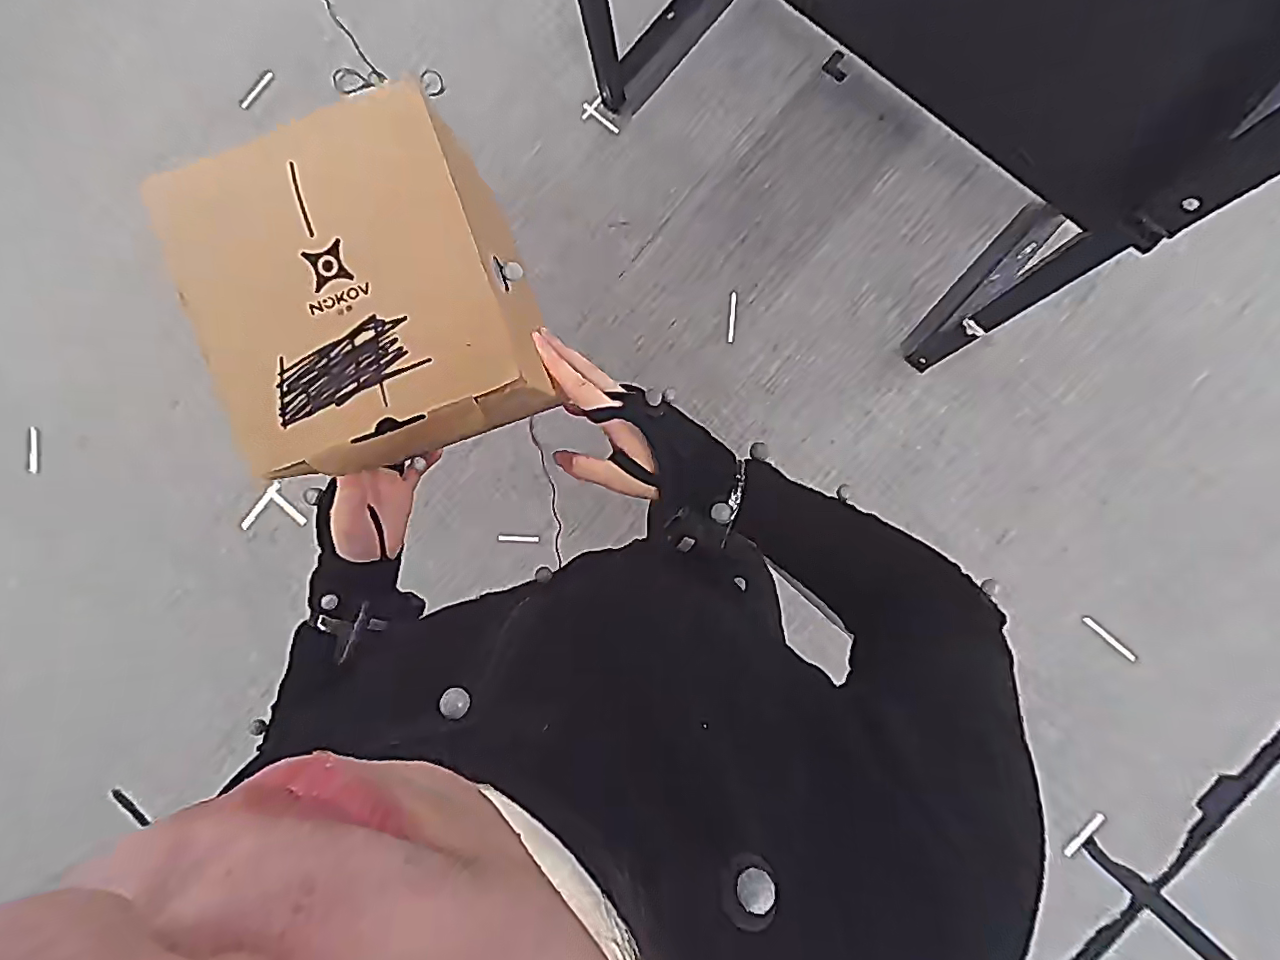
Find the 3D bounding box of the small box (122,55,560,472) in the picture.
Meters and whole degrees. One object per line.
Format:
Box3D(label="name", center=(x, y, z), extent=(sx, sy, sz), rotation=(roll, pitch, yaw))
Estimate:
Box3D(label="small box", center=(-0.166, -0.119, 0.367), extent=(0.168, 0.176, 0.179), rotation=(-20, 94, 3))
